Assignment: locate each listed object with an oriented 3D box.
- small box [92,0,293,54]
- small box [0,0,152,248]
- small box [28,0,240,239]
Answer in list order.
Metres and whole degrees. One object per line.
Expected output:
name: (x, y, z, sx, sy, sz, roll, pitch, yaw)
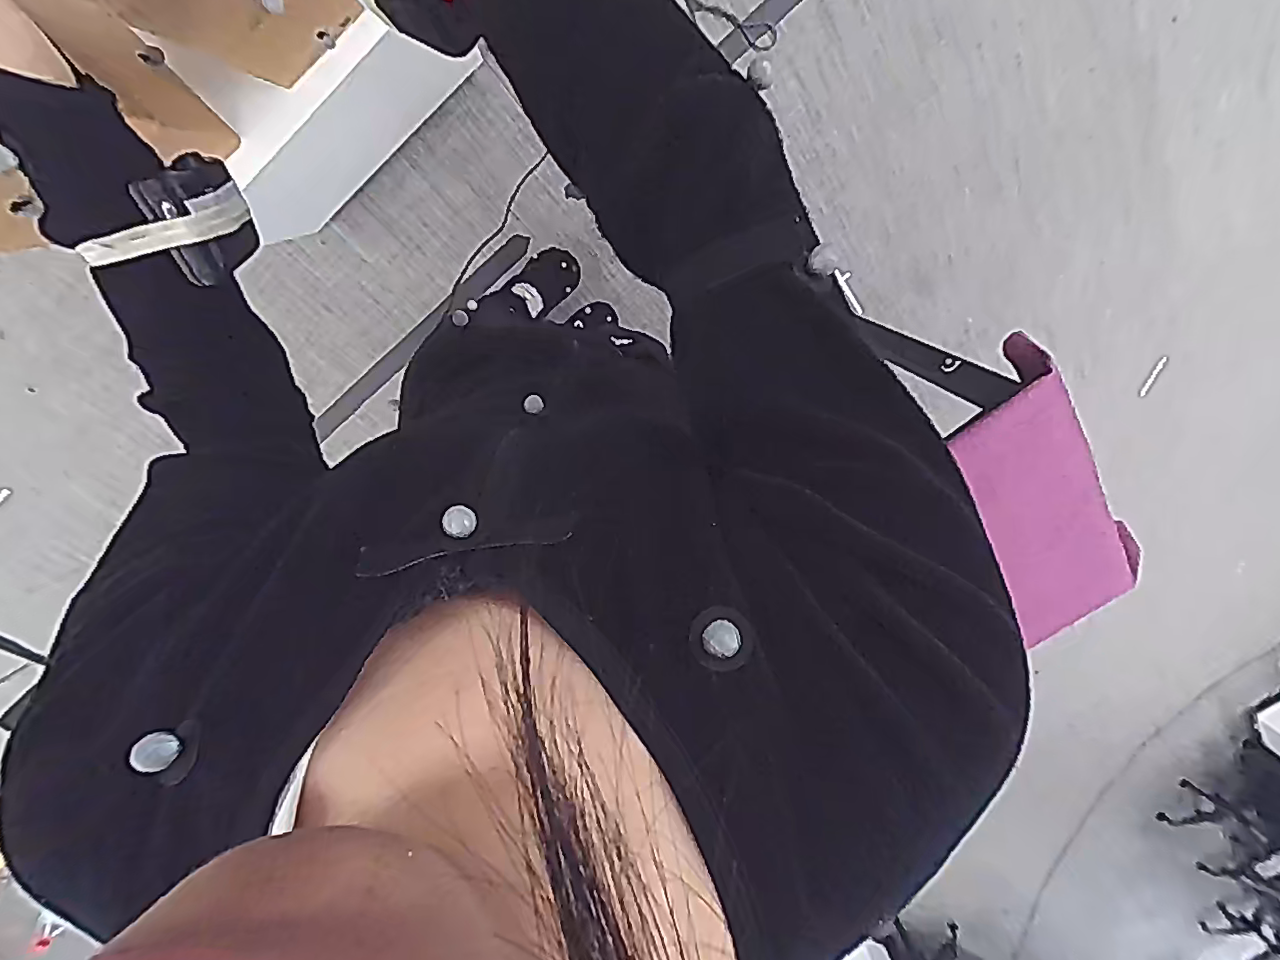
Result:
small box: (-0.343, -0.442, 0.366, 0.168, 0.176, 0.179, -36, 120, 10)
small box: (-0.541, -0.296, 0.407, 0.168, 0.176, 0.179, -39, 118, 11)
small box: (-0.570, -0.372, 0.547, 0.168, 0.176, 0.179, -38, 117, 11)
